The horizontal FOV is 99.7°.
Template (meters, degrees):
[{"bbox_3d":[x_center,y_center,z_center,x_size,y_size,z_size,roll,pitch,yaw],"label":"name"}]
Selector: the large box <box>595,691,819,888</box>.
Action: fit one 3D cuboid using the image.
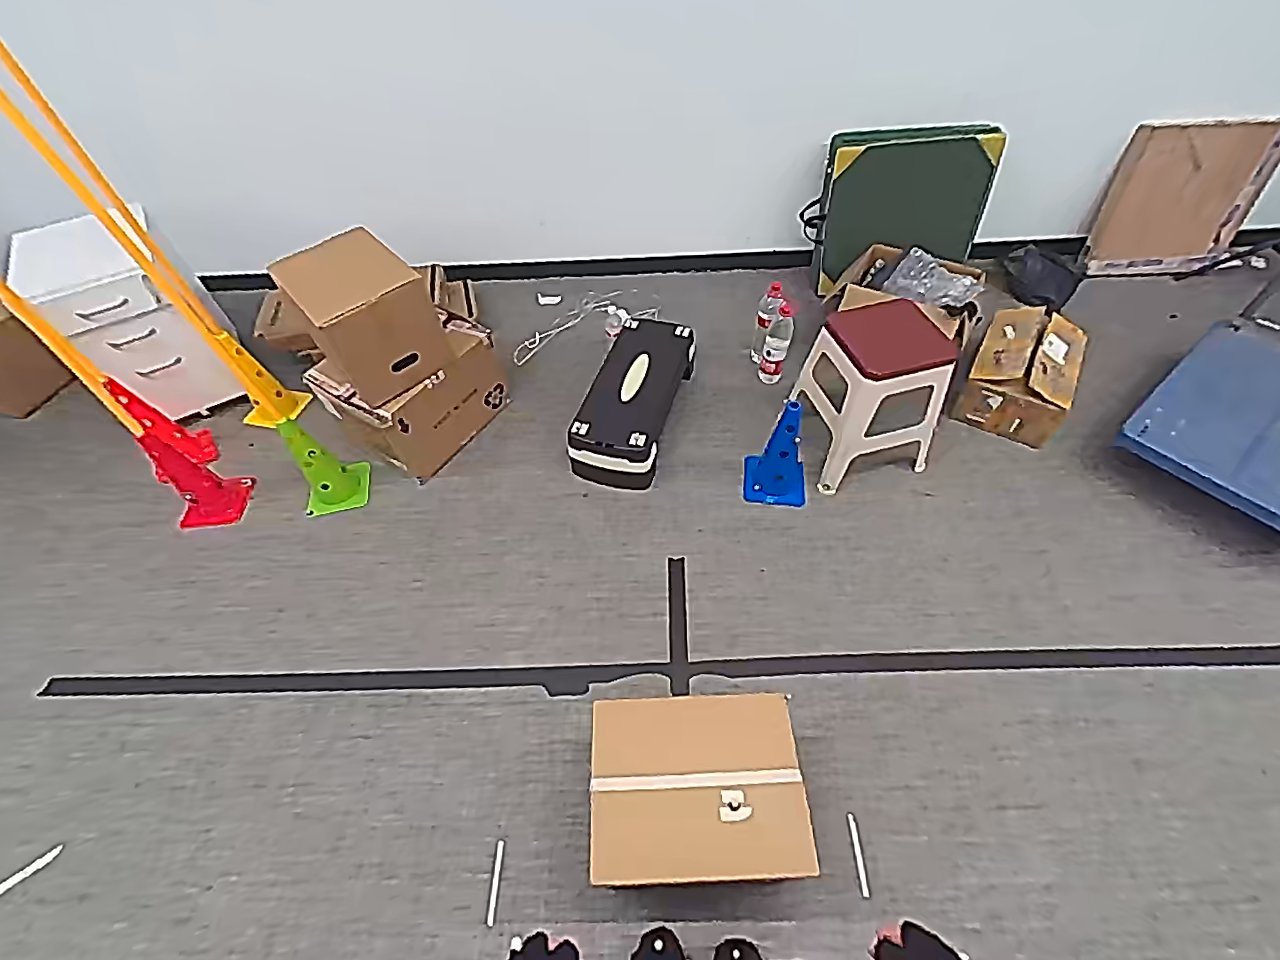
[{"bbox_3d":[0.113,0.664,1.155,0.408,0.320,0.320,-2,53,0],"label":"large box"}]
